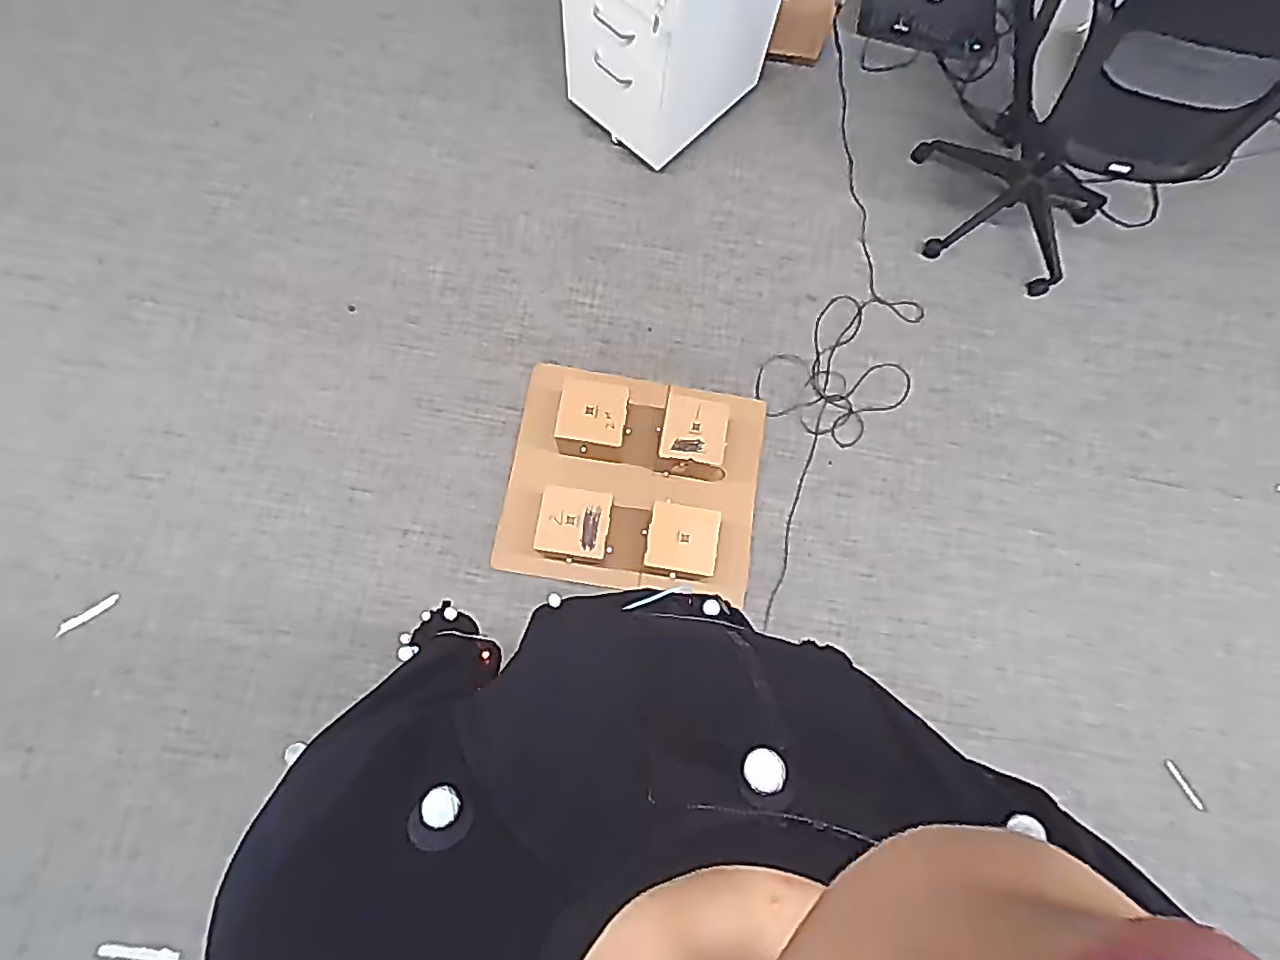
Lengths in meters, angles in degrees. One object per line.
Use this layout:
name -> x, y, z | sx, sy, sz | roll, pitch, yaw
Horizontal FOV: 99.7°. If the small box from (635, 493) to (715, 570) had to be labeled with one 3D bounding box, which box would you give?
small box -> 0.088, 0.142, 1.427 | 0.179, 0.176, 0.168 | 10, 77, 0
